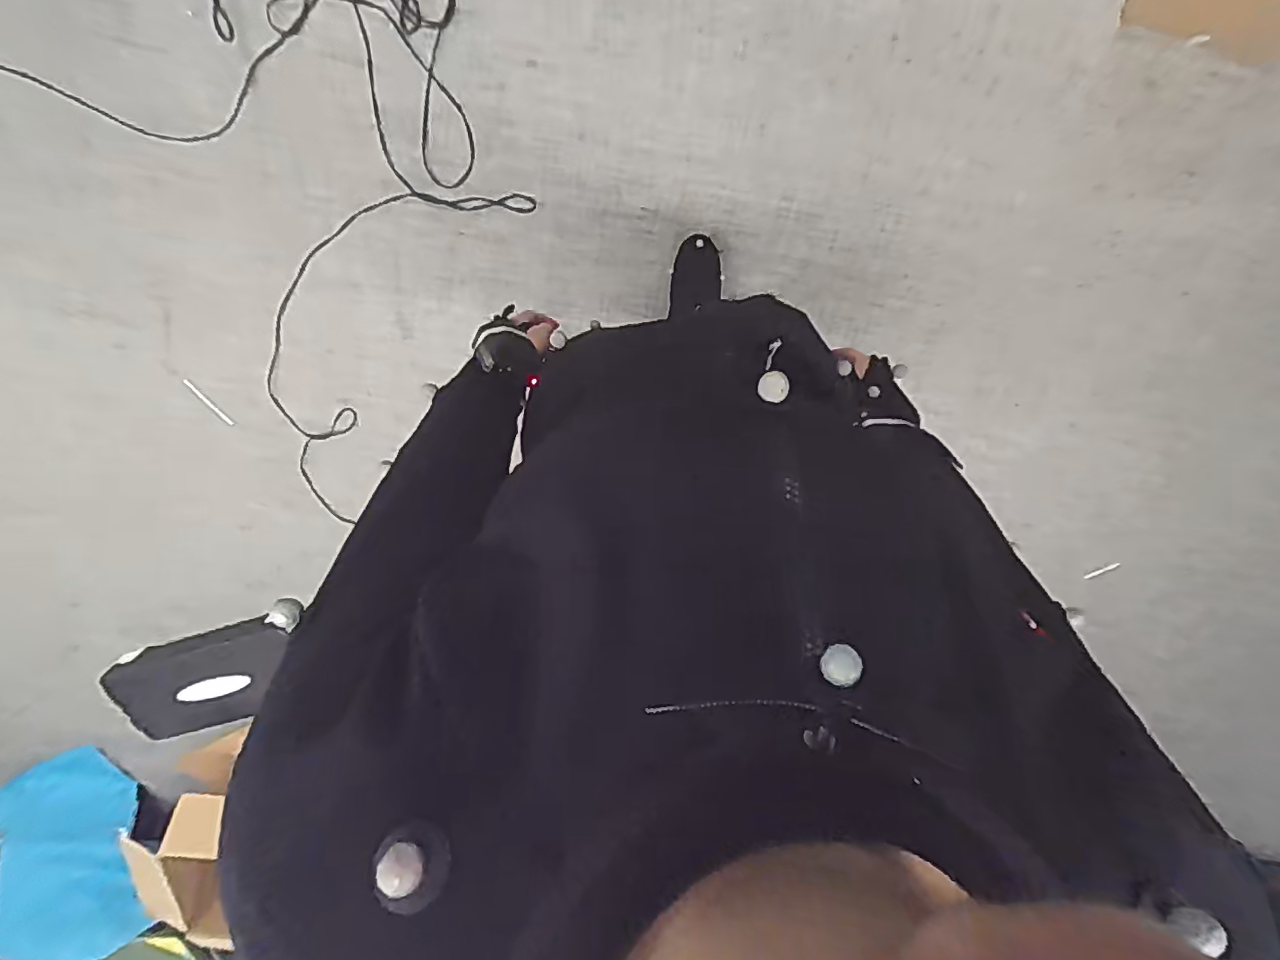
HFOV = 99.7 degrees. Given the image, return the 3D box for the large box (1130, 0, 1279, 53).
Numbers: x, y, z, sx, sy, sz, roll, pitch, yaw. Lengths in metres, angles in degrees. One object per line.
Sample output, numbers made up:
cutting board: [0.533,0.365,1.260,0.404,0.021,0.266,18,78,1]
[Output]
large box: [1.103,-0.965,0.817,0.320,0.320,0.408,13,114,-3]
